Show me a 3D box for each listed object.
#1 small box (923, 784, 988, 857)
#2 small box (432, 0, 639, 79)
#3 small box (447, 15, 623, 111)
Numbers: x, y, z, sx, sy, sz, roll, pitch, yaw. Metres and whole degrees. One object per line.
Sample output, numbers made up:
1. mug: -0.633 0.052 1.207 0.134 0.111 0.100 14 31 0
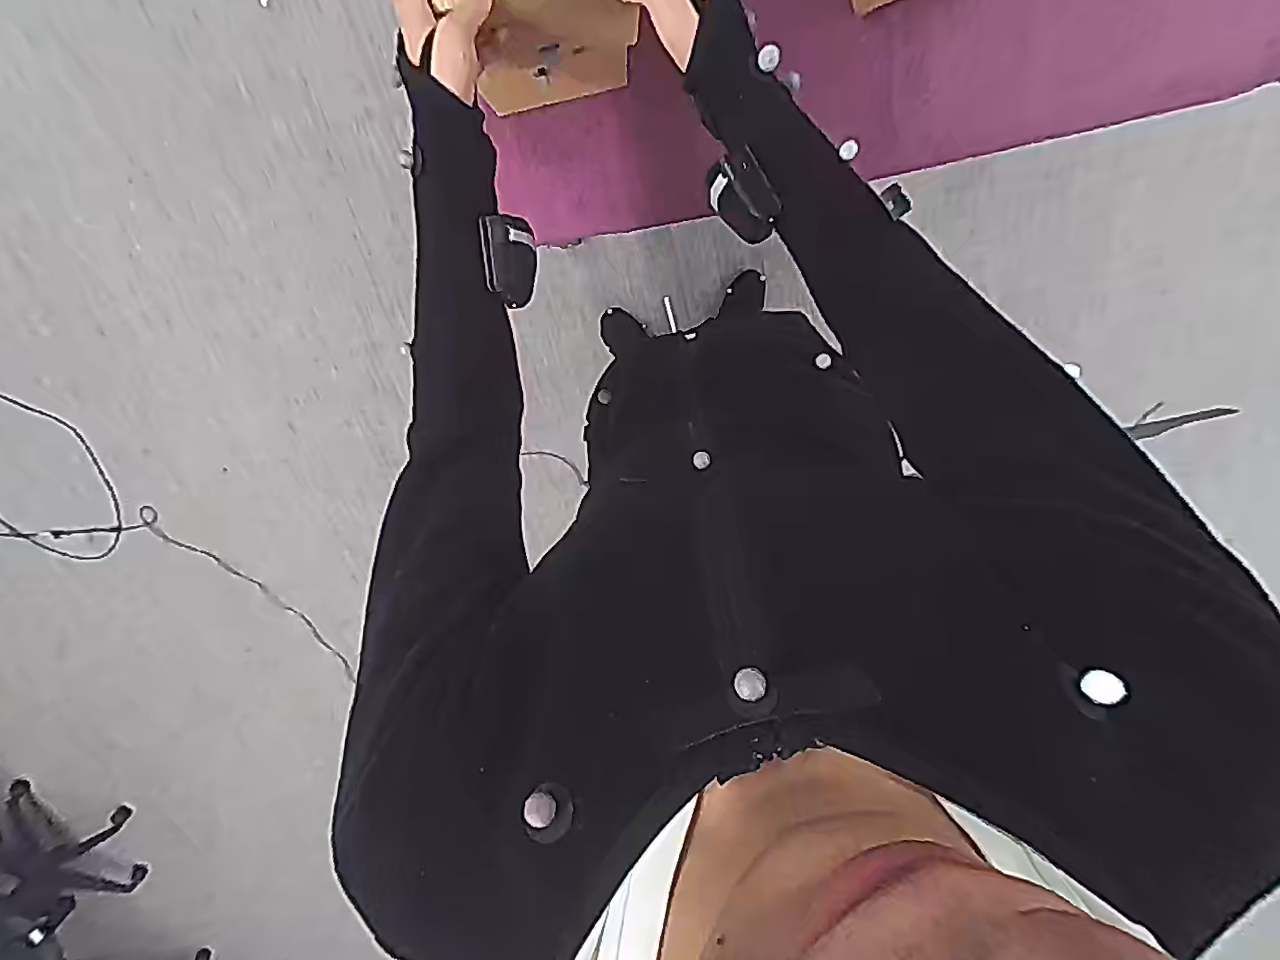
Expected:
1. small box: 1.293 1.396 2.221 0.168 0.176 0.179 -19 111 5
2. small box: -0.097 -0.478 0.451 0.168 0.176 0.179 -12 112 2
3. small box: -0.117 -0.540 0.602 0.179 0.176 0.168 -11 111 2
